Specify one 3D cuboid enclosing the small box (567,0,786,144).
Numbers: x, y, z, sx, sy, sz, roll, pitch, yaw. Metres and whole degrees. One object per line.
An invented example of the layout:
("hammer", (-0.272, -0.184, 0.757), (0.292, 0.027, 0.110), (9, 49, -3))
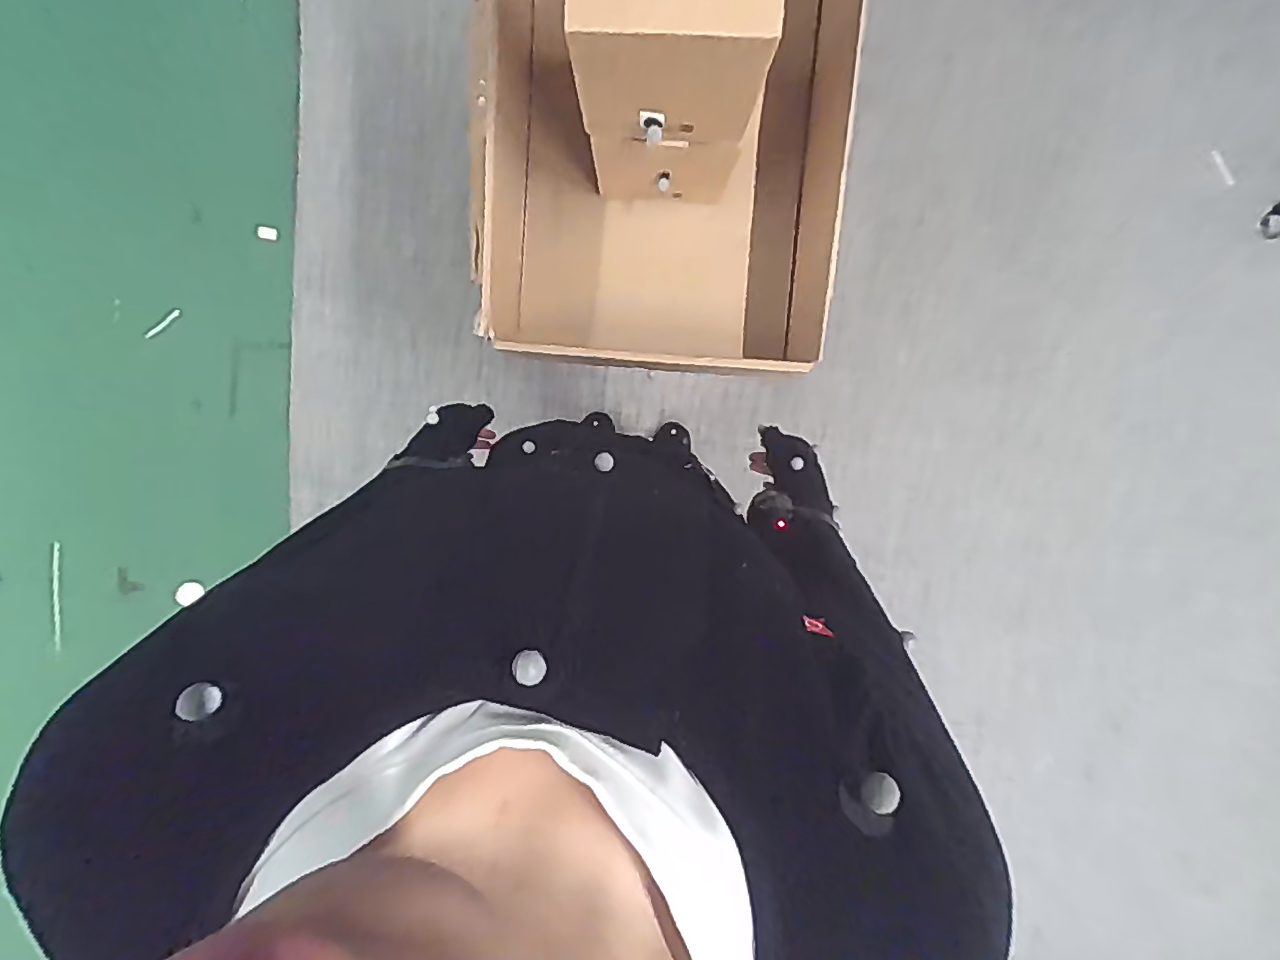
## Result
("small box", (0.031, -0.430, 0.471), (0.168, 0.176, 0.179), (2, 98, 1))
